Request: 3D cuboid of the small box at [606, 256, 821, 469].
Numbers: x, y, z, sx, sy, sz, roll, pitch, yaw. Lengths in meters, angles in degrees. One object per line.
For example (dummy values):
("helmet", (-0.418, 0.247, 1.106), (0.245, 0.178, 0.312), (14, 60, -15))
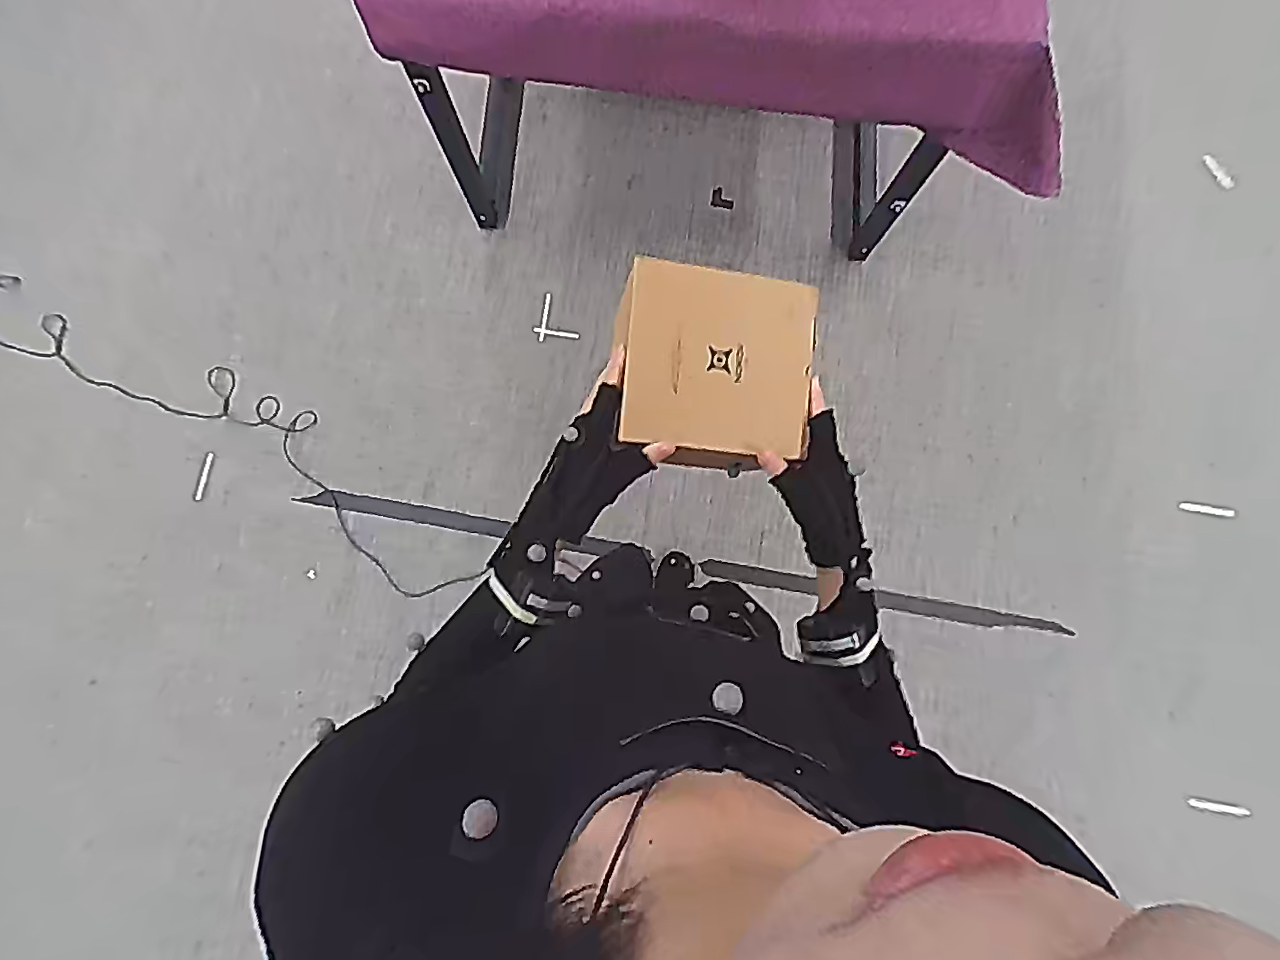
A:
("small box", (0.065, -0.104, 0.560), (0.179, 0.176, 0.168), (4, 85, -9))
